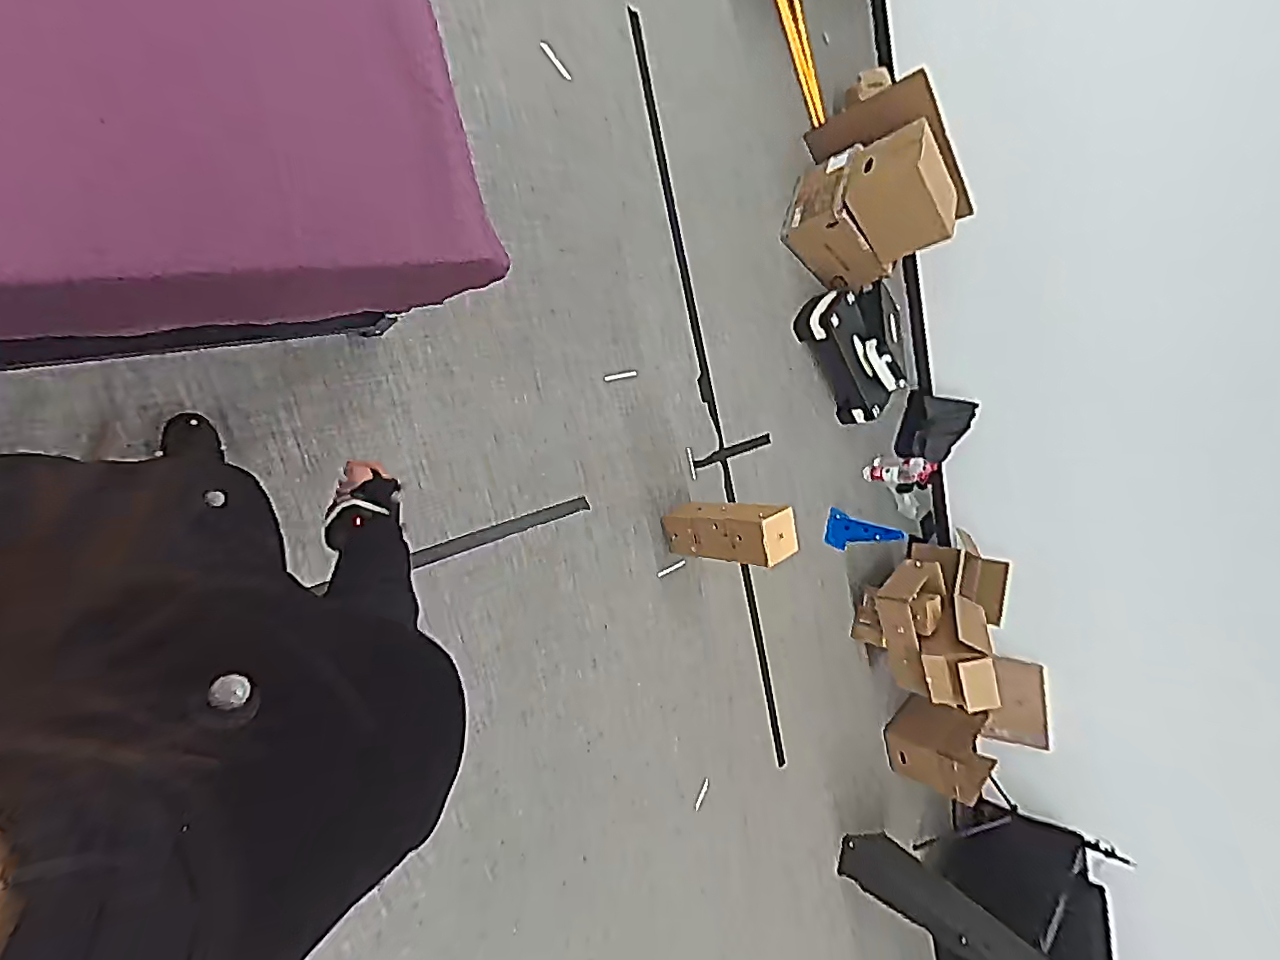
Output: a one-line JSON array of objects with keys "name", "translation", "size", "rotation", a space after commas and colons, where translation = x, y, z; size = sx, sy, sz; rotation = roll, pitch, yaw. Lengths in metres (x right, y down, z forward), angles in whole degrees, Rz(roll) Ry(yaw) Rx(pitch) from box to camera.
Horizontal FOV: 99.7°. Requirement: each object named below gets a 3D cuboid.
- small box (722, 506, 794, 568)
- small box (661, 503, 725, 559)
[{"name": "small box", "translation": [0.419, 0.195, 1.919], "size": [0.179, 0.176, 0.168], "rotation": [-20, 104, -36]}, {"name": "small box", "translation": [0.211, 0.198, 2.173], "size": [0.179, 0.176, 0.168], "rotation": [-24, 105, -35]}]
